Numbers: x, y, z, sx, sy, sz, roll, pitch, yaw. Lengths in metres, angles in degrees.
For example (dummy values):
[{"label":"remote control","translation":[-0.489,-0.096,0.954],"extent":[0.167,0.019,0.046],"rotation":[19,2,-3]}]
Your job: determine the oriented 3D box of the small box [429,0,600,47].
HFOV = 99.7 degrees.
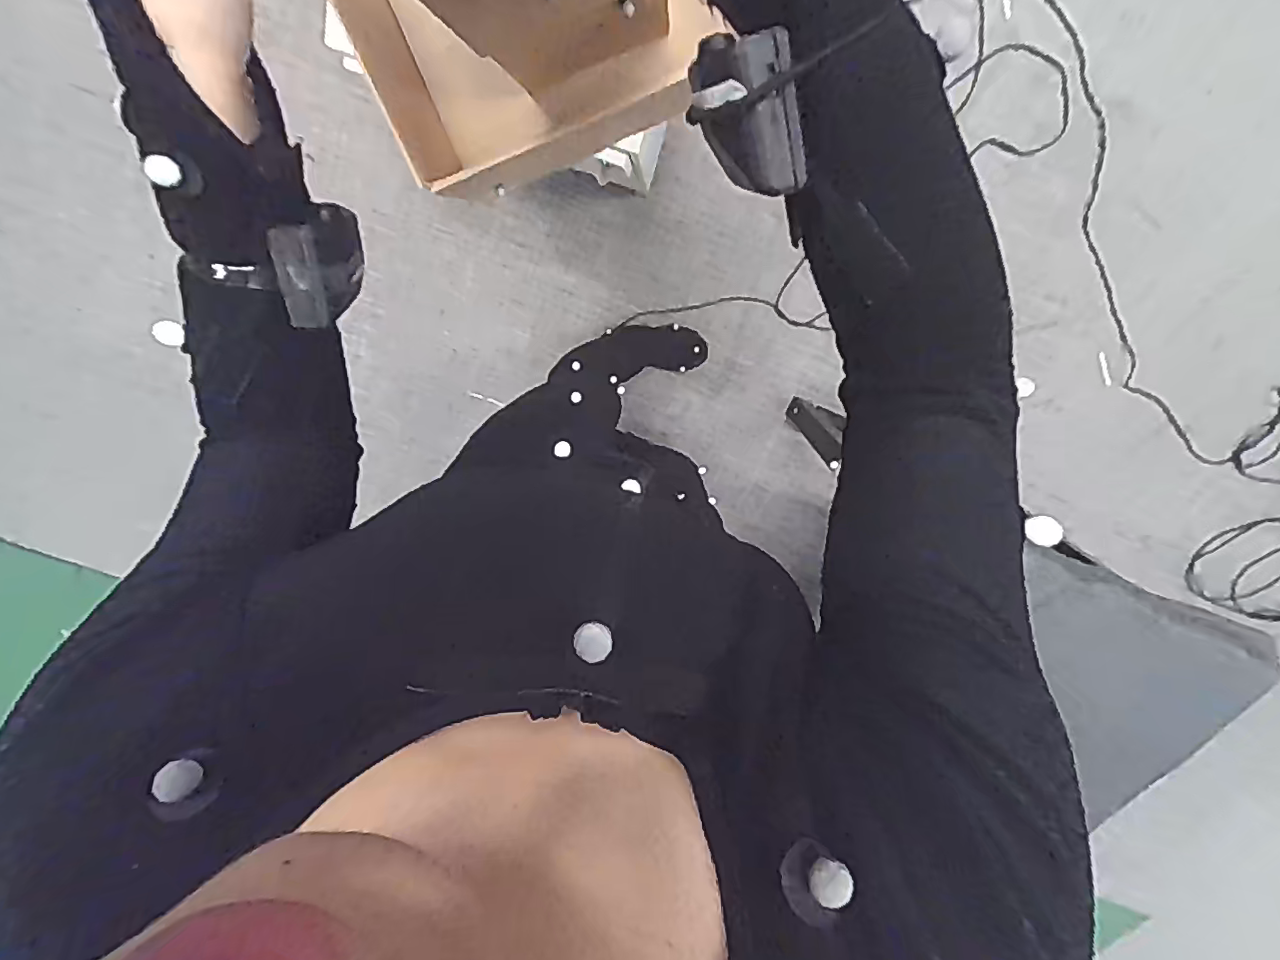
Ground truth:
[{"label":"small box","translation":[-0.088,-0.437,0.359],"extent":[0.179,0.176,0.168],"rotation":[-16,112,11]}]
